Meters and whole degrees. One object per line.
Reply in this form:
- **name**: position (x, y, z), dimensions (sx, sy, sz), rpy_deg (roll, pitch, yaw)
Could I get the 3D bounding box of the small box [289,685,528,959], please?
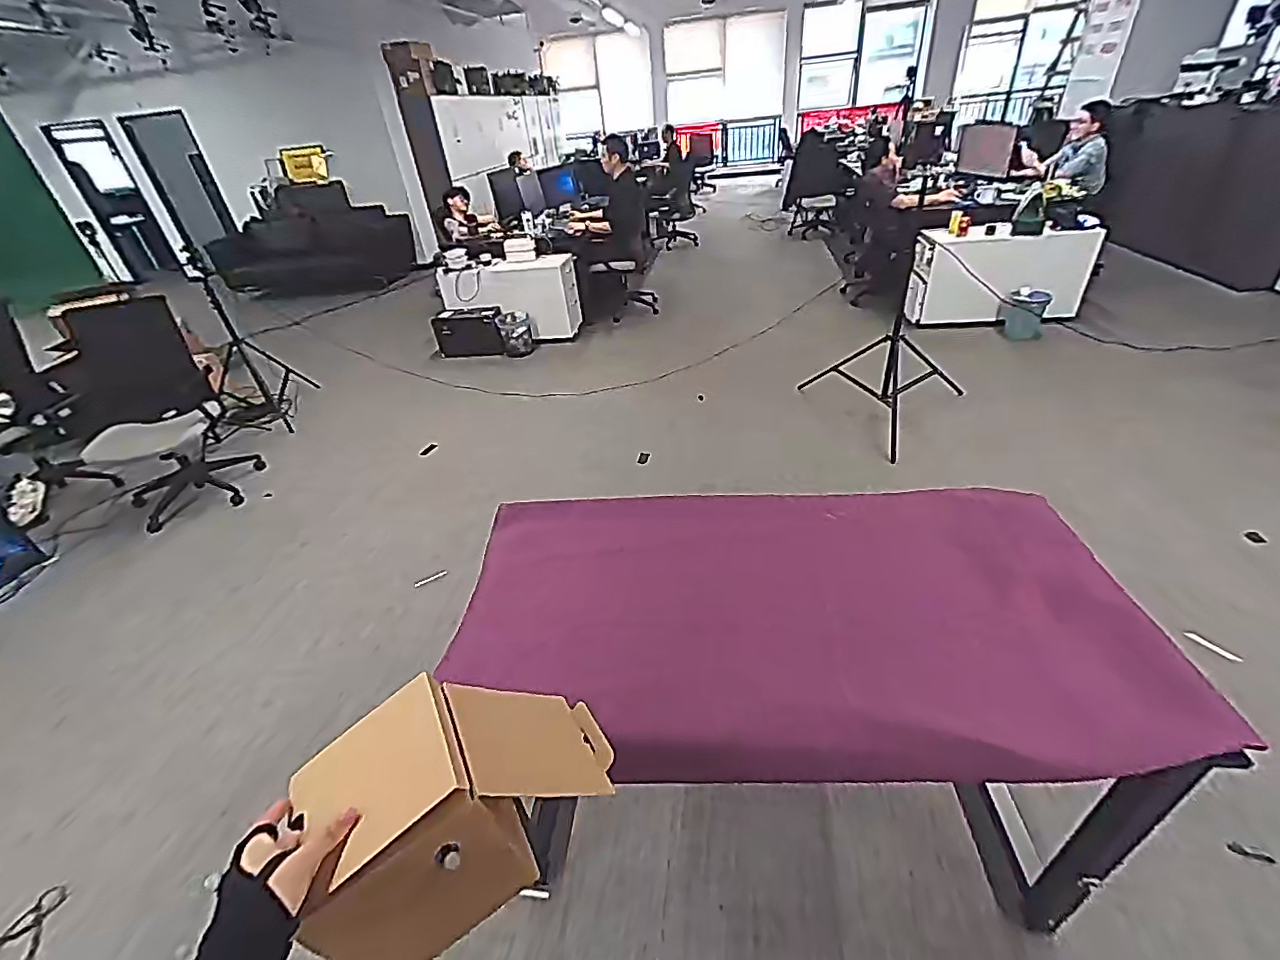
- **small box**: position (-0.238, 0.370, 0.581), dimensions (0.179, 0.176, 0.168), rpy_deg (-29, 31, -18)
